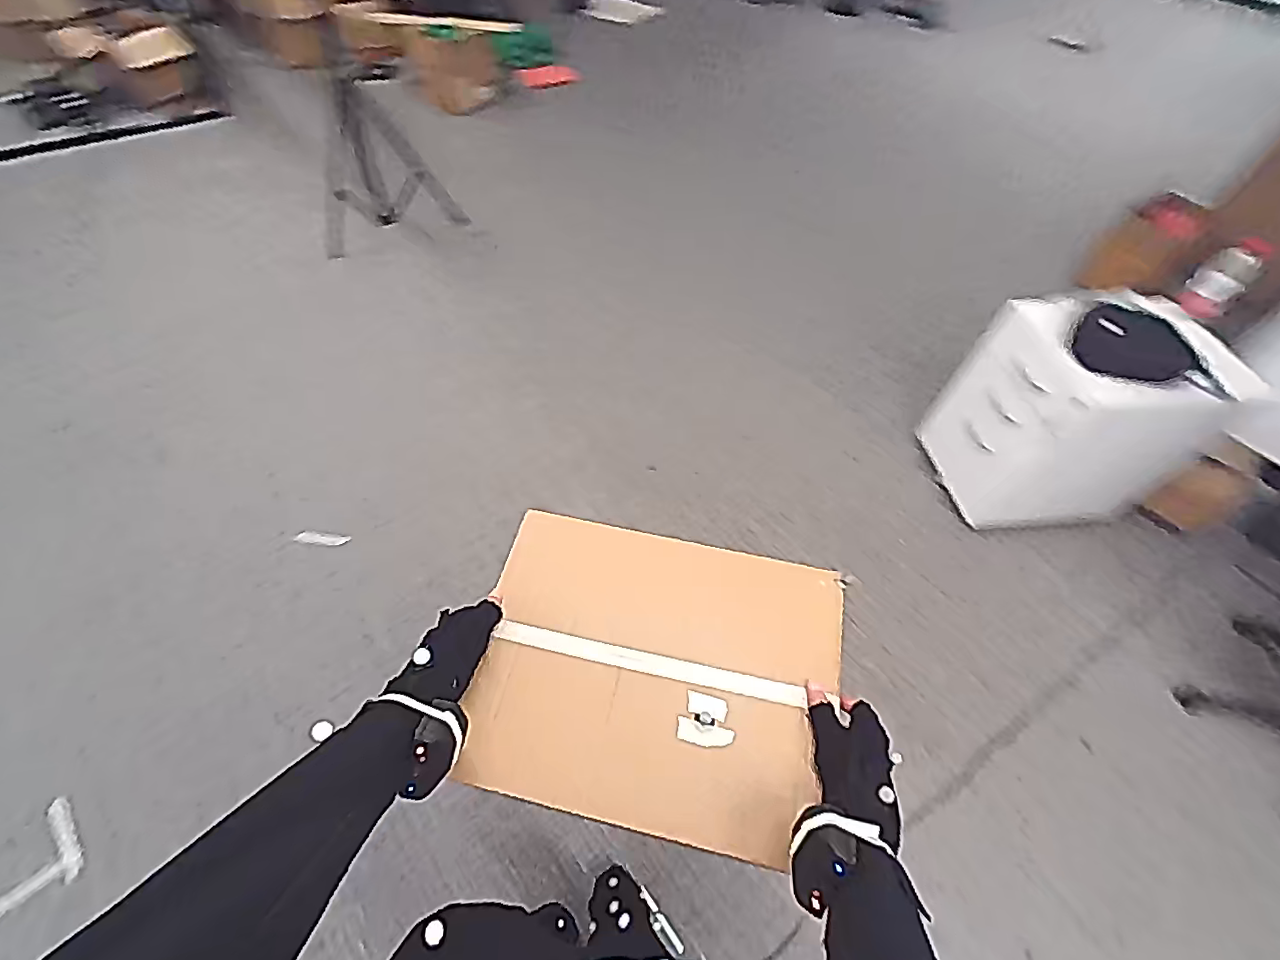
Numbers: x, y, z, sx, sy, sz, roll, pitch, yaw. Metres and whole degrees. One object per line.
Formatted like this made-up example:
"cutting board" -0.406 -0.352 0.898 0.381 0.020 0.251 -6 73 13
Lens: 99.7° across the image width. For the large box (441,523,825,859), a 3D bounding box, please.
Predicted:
"large box" 0.008 0.292 0.751 0.408 0.320 0.320 10 60 5
